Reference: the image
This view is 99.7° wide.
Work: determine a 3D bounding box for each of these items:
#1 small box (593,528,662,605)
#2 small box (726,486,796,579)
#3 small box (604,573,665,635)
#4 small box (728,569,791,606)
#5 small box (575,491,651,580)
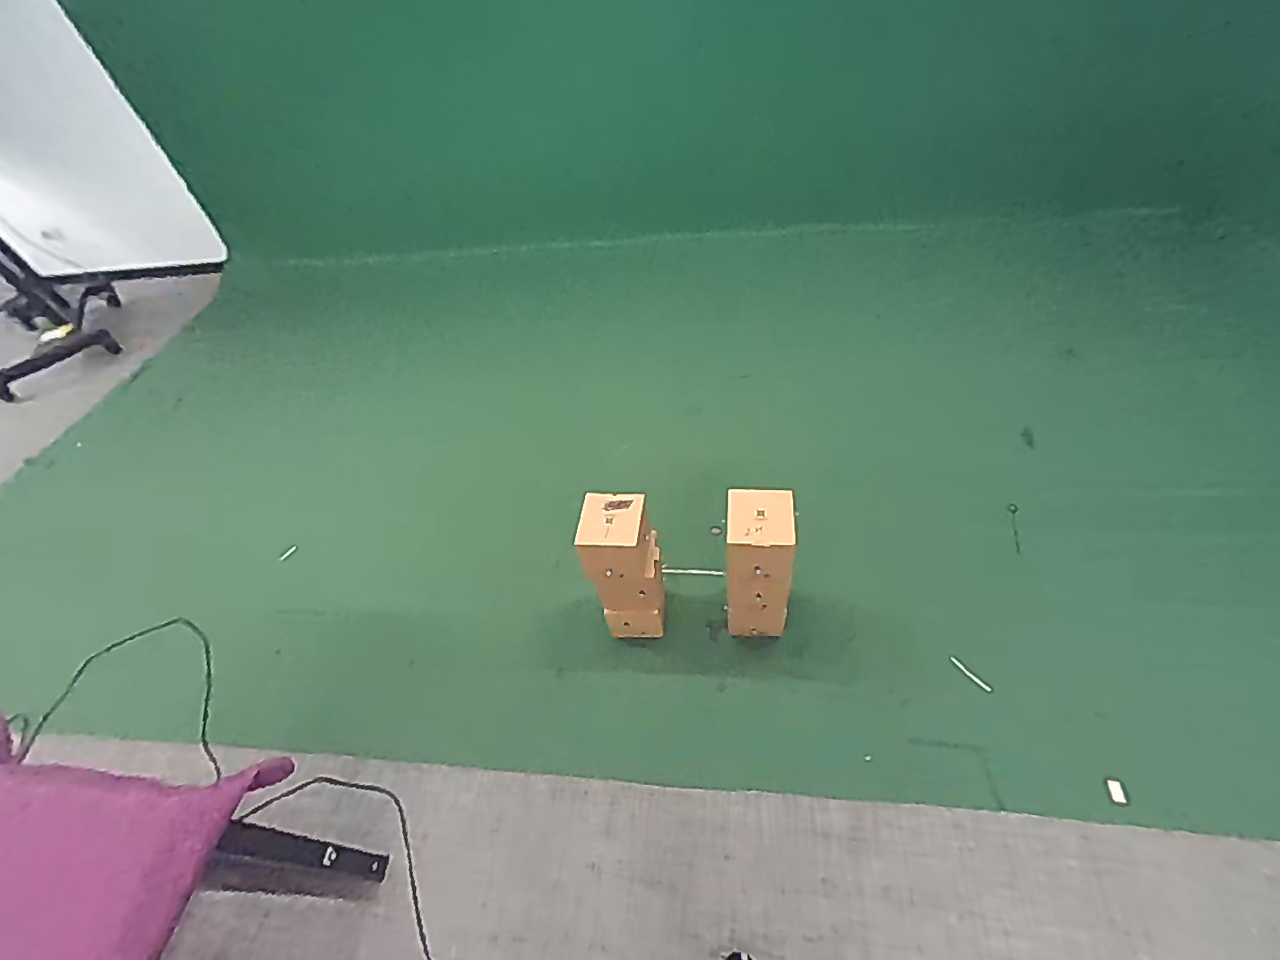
[{"bbox_3d":[-0.029,0.258,1.594,0.179,0.176,0.168,-3,48,8],"label":"small box"},{"bbox_3d":[0.314,0.137,1.419,0.168,0.176,0.179,1,51,10],"label":"small box"},{"bbox_3d":[-0.010,0.375,1.705,0.168,0.176,0.179,-2,48,8],"label":"small box"},{"bbox_3d":[0.337,0.244,1.542,0.168,0.176,0.179,1,51,9],"label":"small box"},{"bbox_3d":[-0.066,0.150,1.475,0.168,0.176,0.179,0,49,10],"label":"small box"}]
